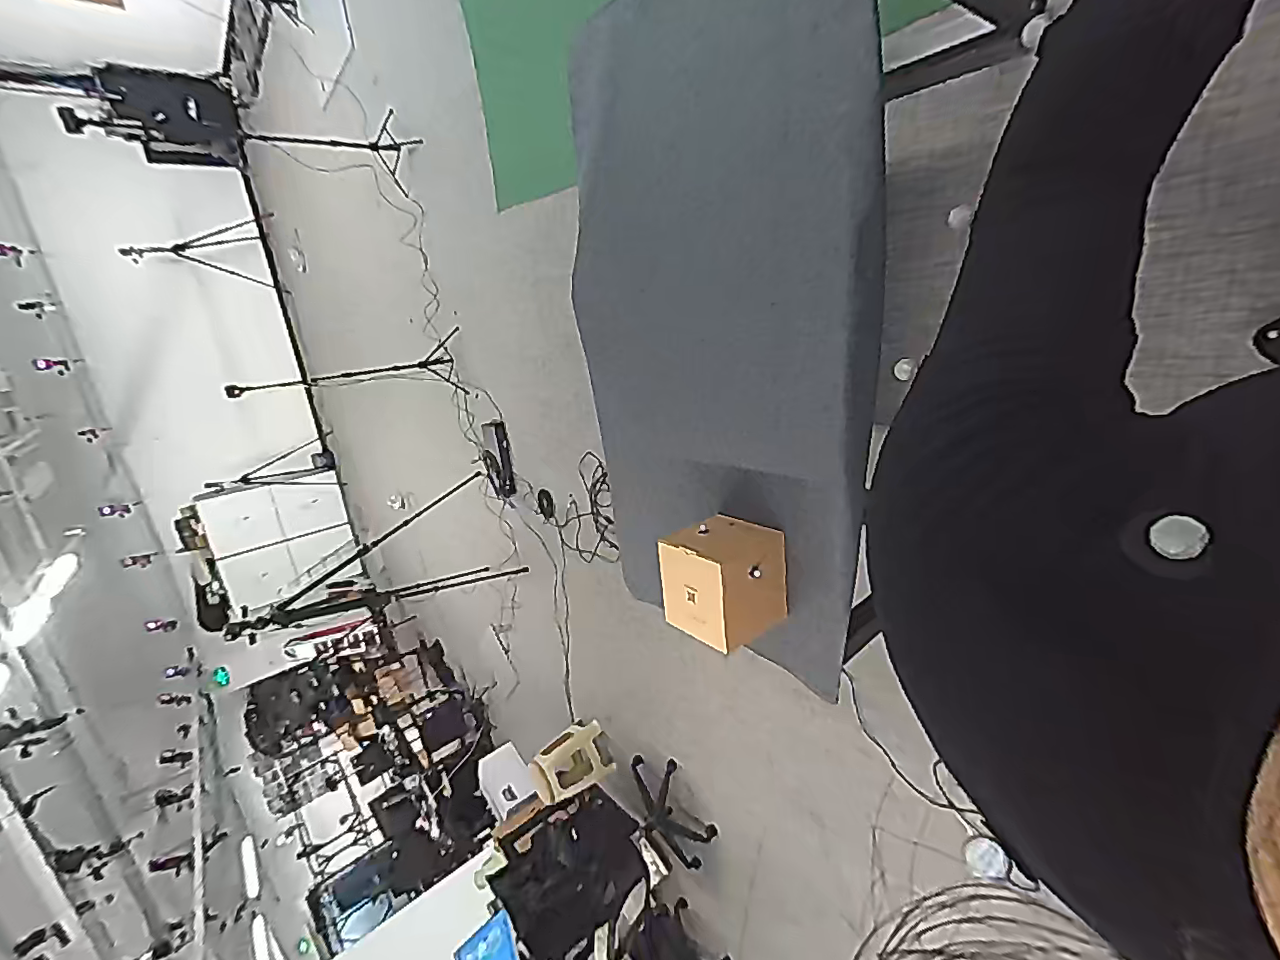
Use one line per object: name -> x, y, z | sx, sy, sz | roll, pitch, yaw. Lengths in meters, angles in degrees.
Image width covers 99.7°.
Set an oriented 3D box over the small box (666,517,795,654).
small box -> 0.170, 0.183, 1.005 | 0.168, 0.176, 0.179 | 14, 117, 52
